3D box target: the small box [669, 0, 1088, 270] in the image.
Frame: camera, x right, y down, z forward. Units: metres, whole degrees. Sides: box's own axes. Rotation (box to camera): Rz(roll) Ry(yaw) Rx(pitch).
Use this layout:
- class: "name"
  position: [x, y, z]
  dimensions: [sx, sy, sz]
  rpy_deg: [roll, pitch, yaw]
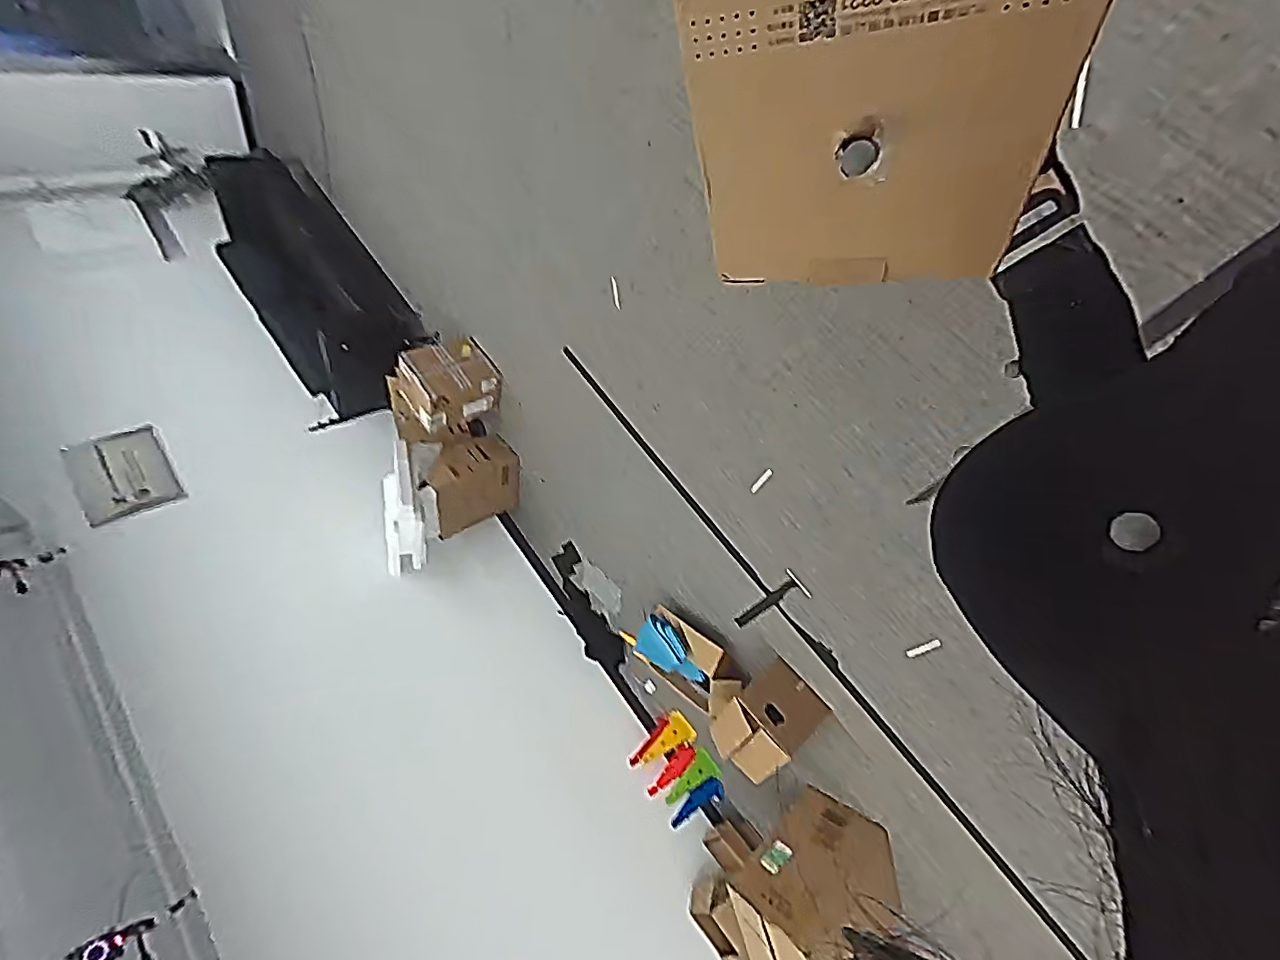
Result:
- class: "small box"
  position: [0.121, -0.241, 0.288]
  dimensions: [0.168, 0.179, 0.176]
  rpy_deg: [7, 157, 19]
